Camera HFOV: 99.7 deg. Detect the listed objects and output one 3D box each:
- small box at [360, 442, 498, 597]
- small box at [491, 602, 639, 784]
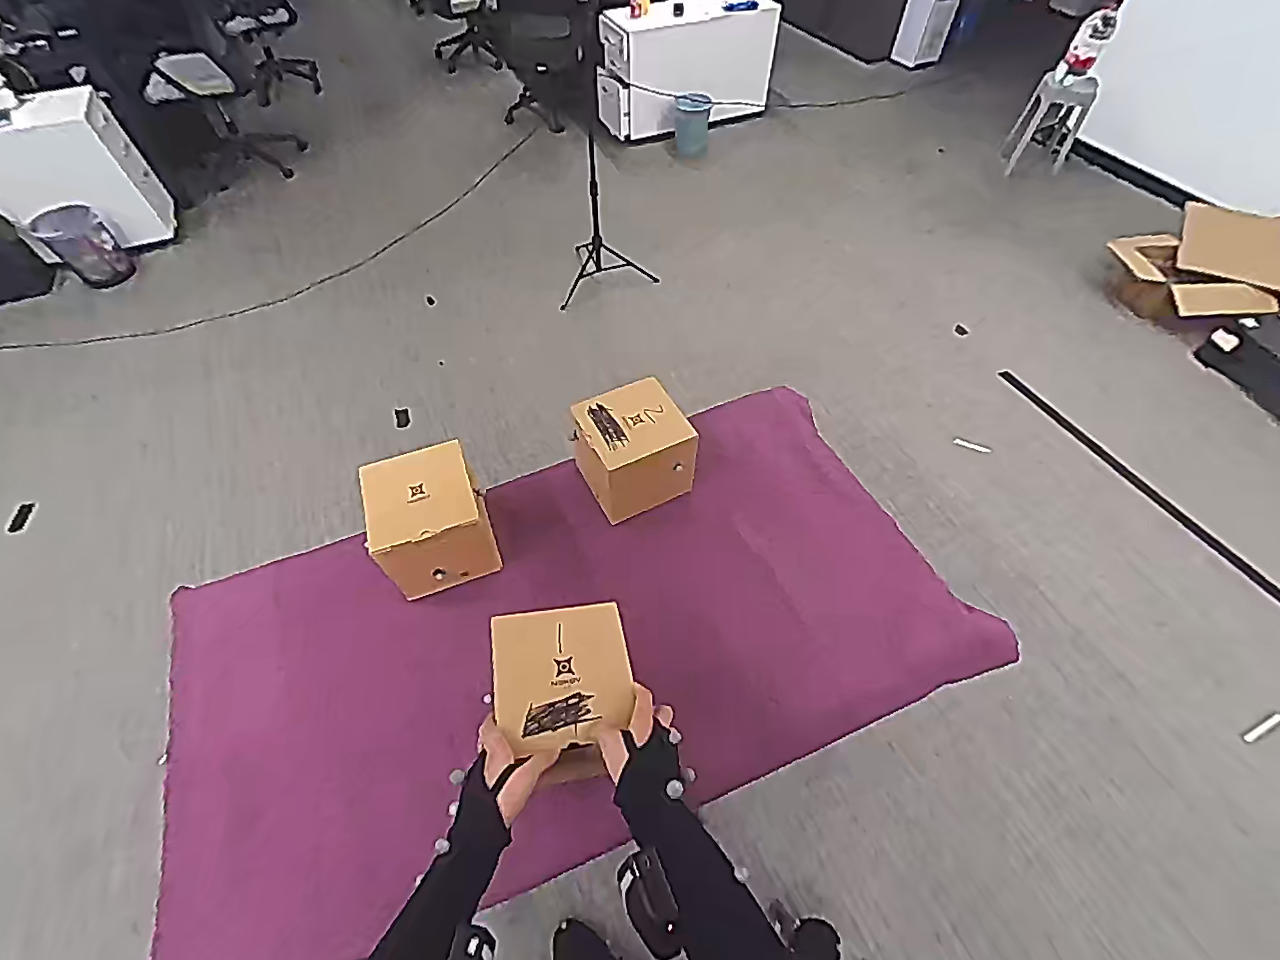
[{"bbox_3d":[-0.354,0.069,0.923,0.168,0.176,0.179,-18,57,-13],"label":"small box"},{"bbox_3d":[-0.106,0.285,0.715,0.168,0.176,0.179,-3,51,-15],"label":"small box"}]
